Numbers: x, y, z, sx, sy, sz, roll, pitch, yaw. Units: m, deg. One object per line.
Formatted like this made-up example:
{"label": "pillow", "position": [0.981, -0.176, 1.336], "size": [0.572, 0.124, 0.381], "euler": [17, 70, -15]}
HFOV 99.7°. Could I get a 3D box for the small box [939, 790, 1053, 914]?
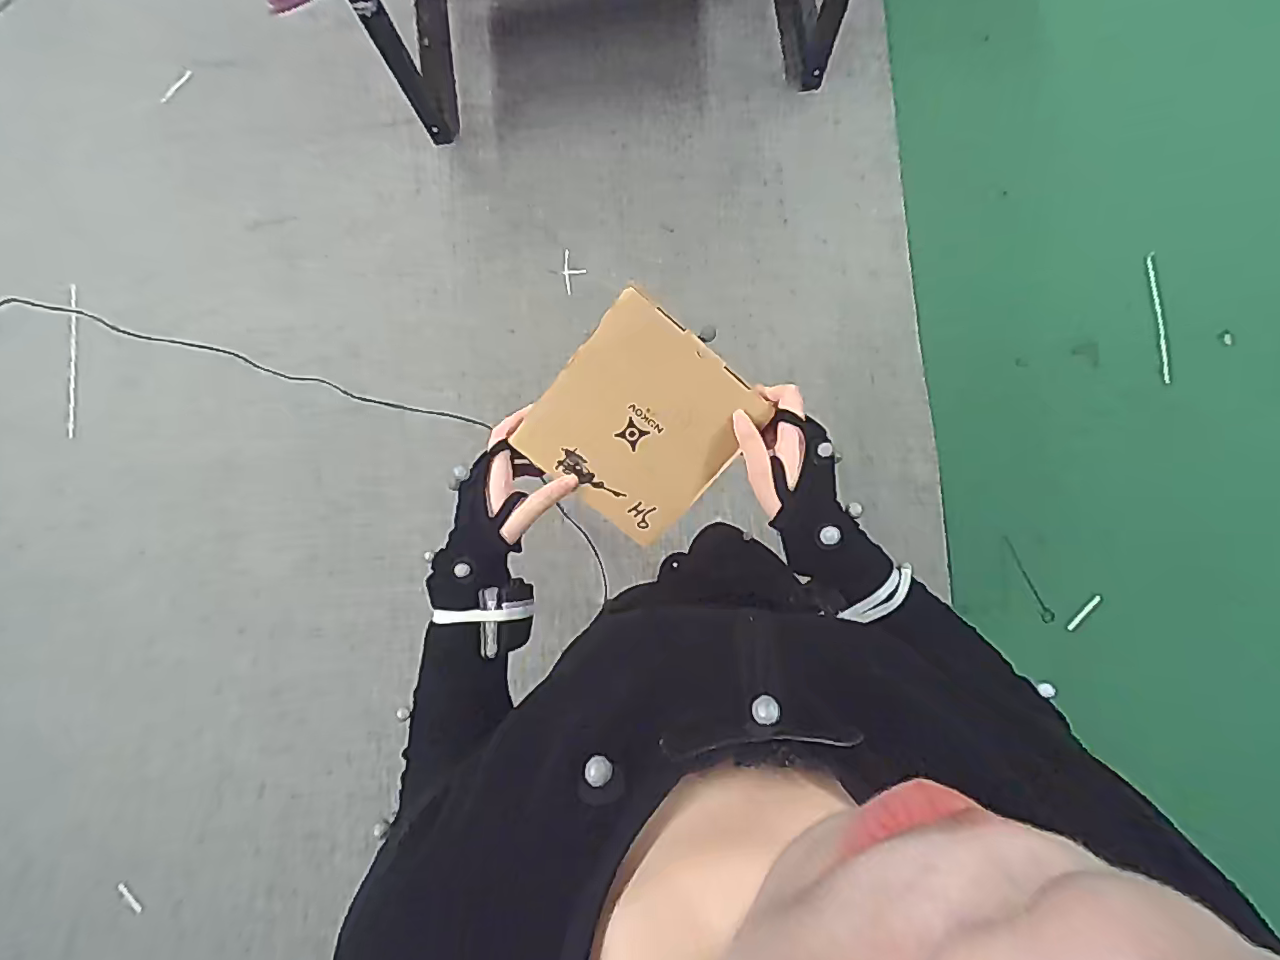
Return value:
{"label": "small box", "position": [0.832, 0.866, 1.278], "size": [0.168, 0.176, 0.179], "euler": [6, 85, 4]}
